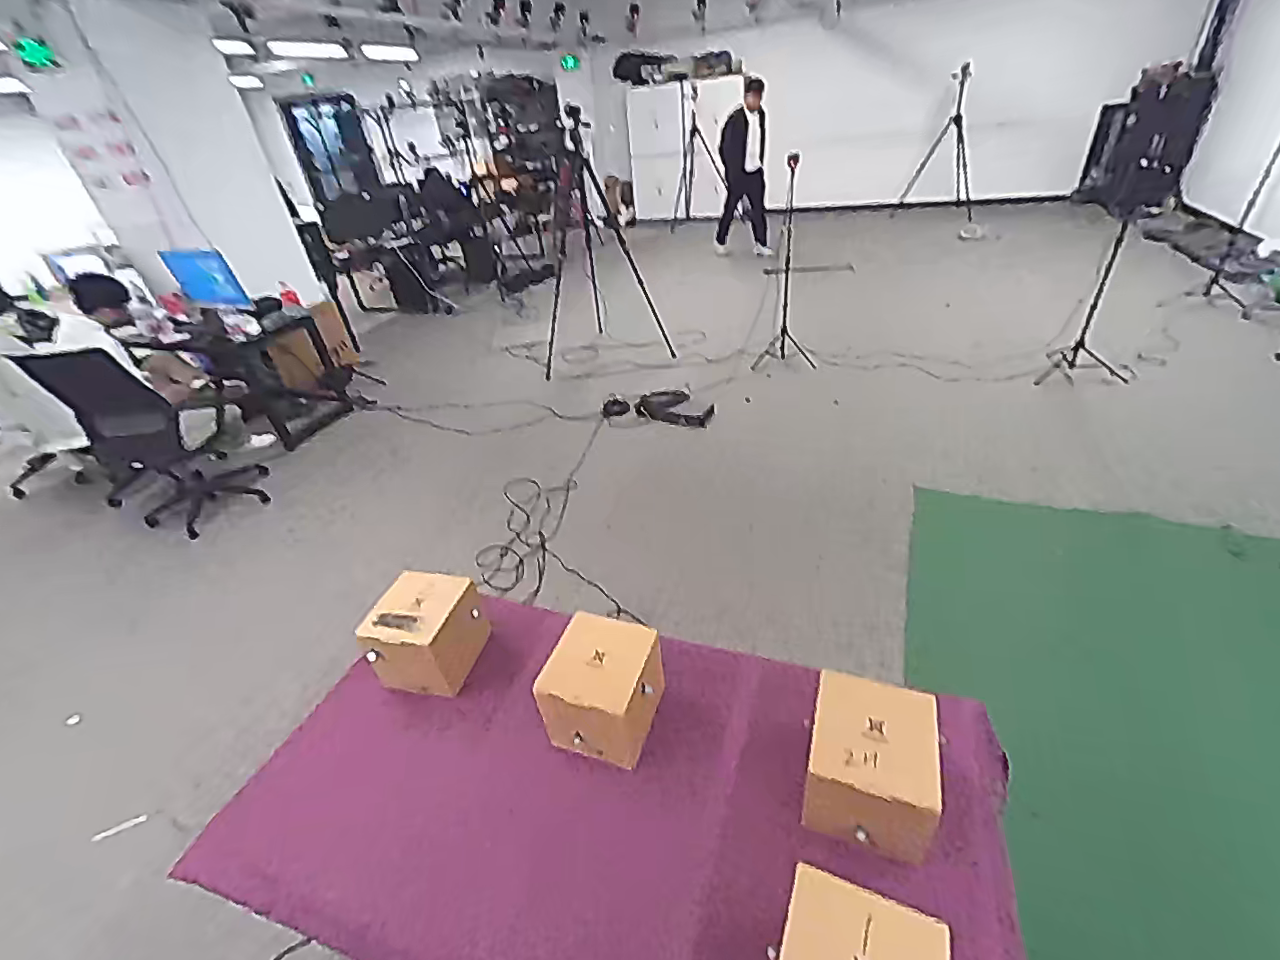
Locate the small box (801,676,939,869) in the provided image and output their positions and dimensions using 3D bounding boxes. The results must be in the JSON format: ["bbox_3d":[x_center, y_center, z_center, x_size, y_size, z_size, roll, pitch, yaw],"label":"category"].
[{"bbox_3d":[0.343,0.438,0.820,0.168,0.176,0.179,8,37,21],"label":"small box"}]

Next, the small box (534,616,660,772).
[{"bbox_3d":[-0.067,0.380,0.973,0.168,0.176,0.179,8,38,19],"label":"small box"}]

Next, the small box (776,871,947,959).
[{"bbox_3d":[0.233,0.598,0.603,0.168,0.176,0.179,10,36,24],"label":"small box"}]
